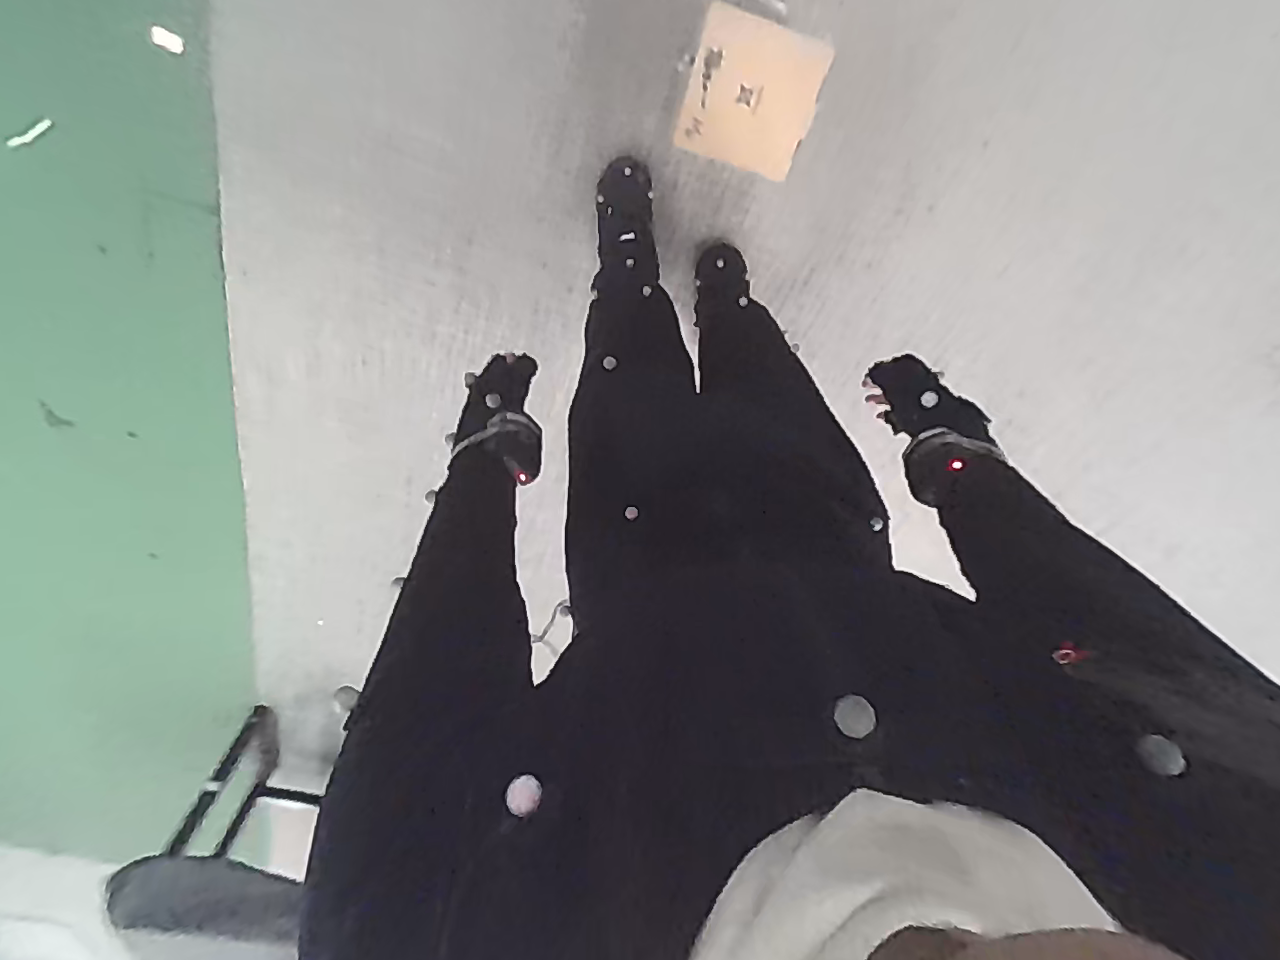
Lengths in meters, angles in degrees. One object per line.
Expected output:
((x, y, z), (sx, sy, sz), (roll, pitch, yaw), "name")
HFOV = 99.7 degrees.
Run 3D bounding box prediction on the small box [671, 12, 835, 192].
((0.154, -0.558, 0.807), (0.179, 0.176, 0.168), (15, 125, -9), "small box")
